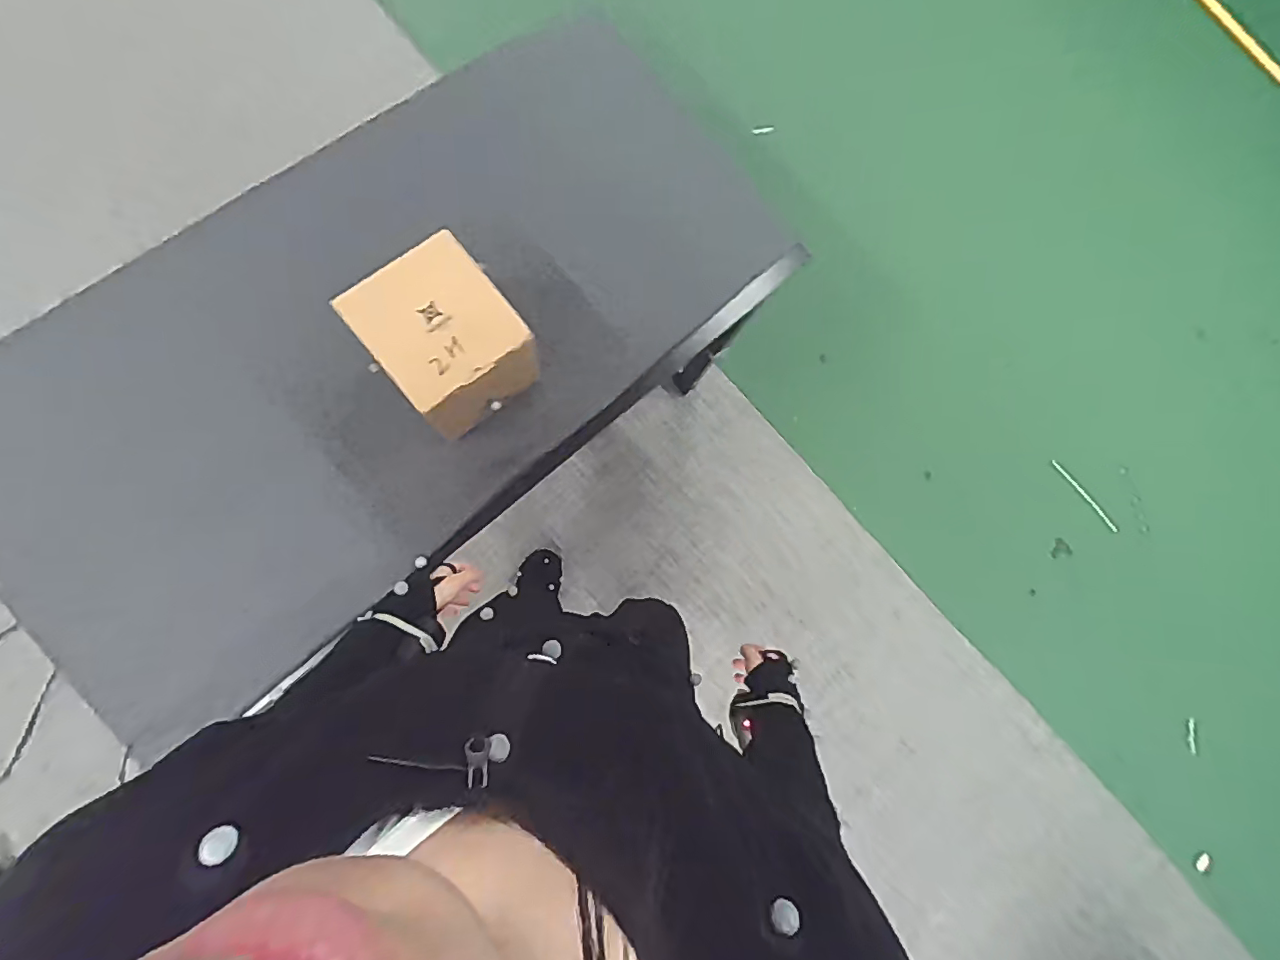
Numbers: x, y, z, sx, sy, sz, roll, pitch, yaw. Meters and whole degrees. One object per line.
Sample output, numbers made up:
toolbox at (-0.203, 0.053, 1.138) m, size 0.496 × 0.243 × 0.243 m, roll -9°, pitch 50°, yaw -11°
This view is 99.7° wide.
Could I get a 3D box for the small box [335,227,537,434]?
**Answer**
small box at (-0.255, -0.186, 0.723) m, size 0.168 × 0.176 × 0.179 m, roll -40°, pitch 89°, yaw -11°
